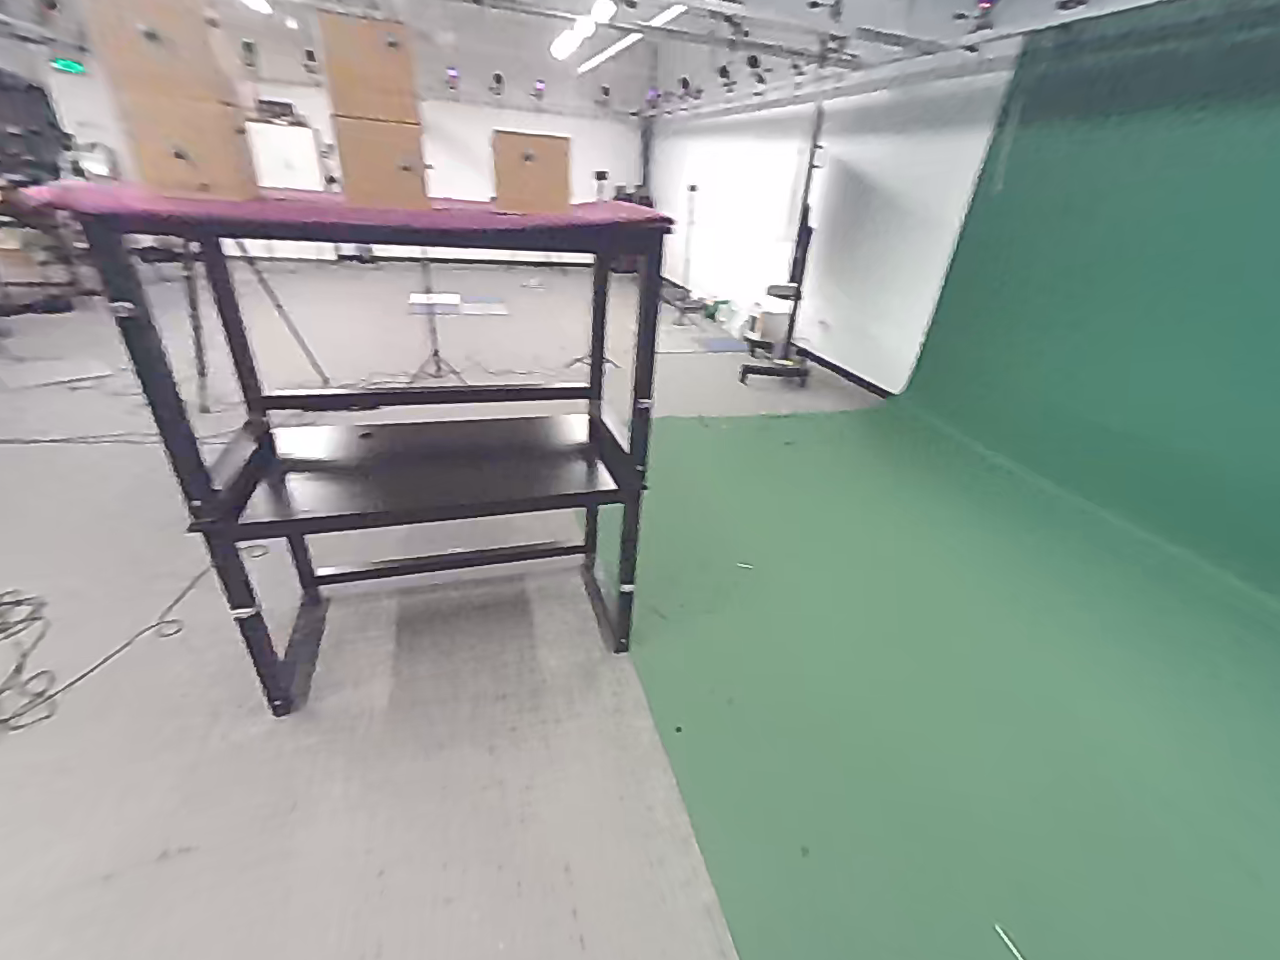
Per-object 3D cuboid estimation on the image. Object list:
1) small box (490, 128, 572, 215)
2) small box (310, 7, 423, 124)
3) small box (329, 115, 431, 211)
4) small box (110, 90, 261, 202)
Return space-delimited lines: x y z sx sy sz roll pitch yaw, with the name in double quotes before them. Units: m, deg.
"small box" -0.265 -0.741 1.313 0.179 0.176 0.168 -5 28 -16
"small box" -0.557 -0.839 1.121 0.179 0.176 0.168 -7 31 -20
"small box" -0.564 -0.696 1.198 0.179 0.176 0.168 -7 31 -18
"small box" -0.878 -0.653 1.068 0.168 0.176 0.179 -6 31 -20
